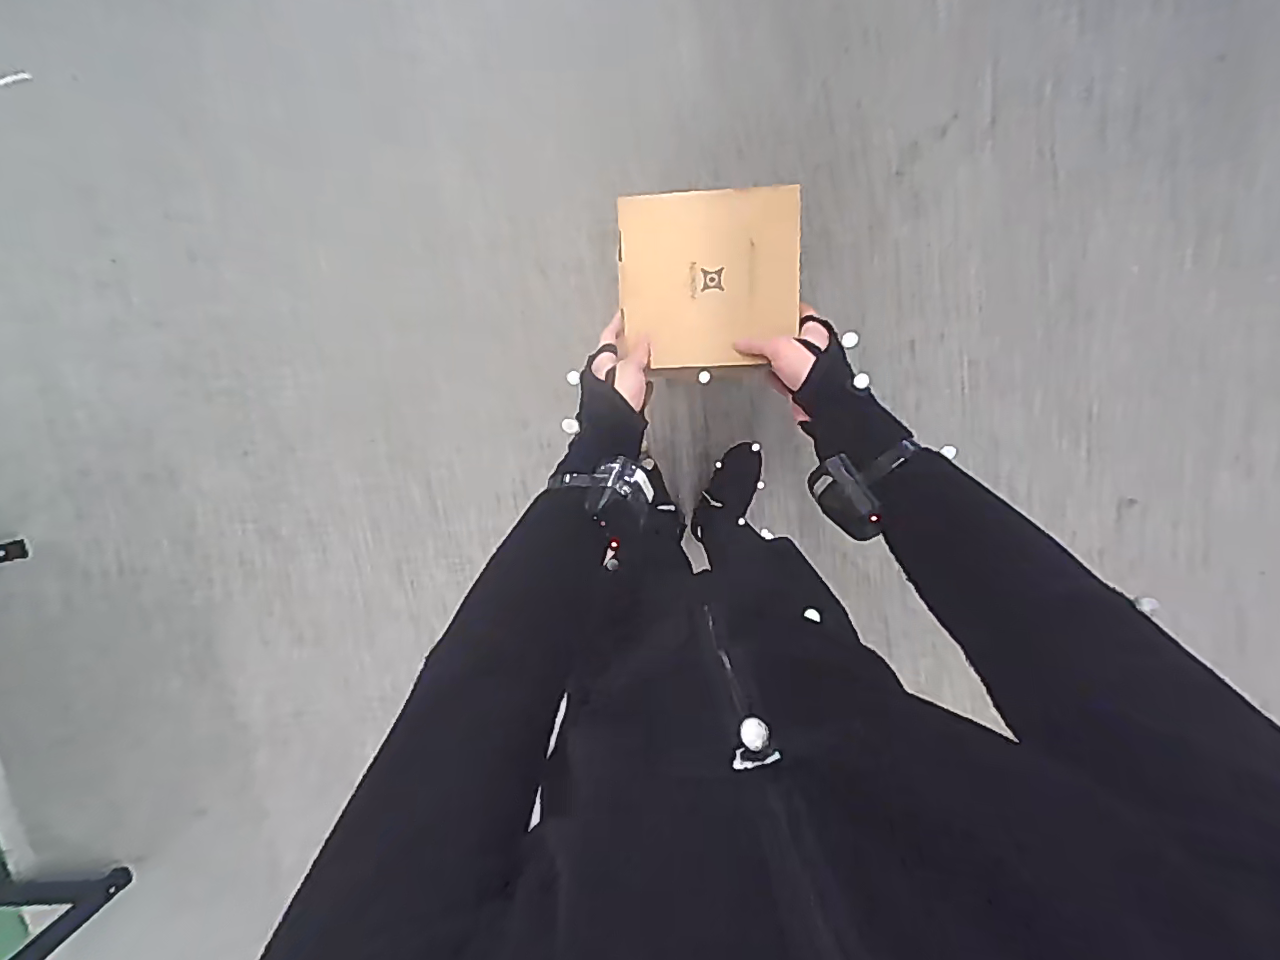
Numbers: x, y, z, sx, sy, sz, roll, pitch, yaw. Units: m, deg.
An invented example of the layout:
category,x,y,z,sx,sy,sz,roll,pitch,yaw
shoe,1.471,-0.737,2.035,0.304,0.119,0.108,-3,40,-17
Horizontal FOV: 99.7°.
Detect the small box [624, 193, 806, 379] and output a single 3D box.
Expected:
category,x,y,z,sx,sy,sz,roll,pitch,yaw
small box,0.079,-0.202,0.609,0.179,0.176,0.168,-2,99,3
